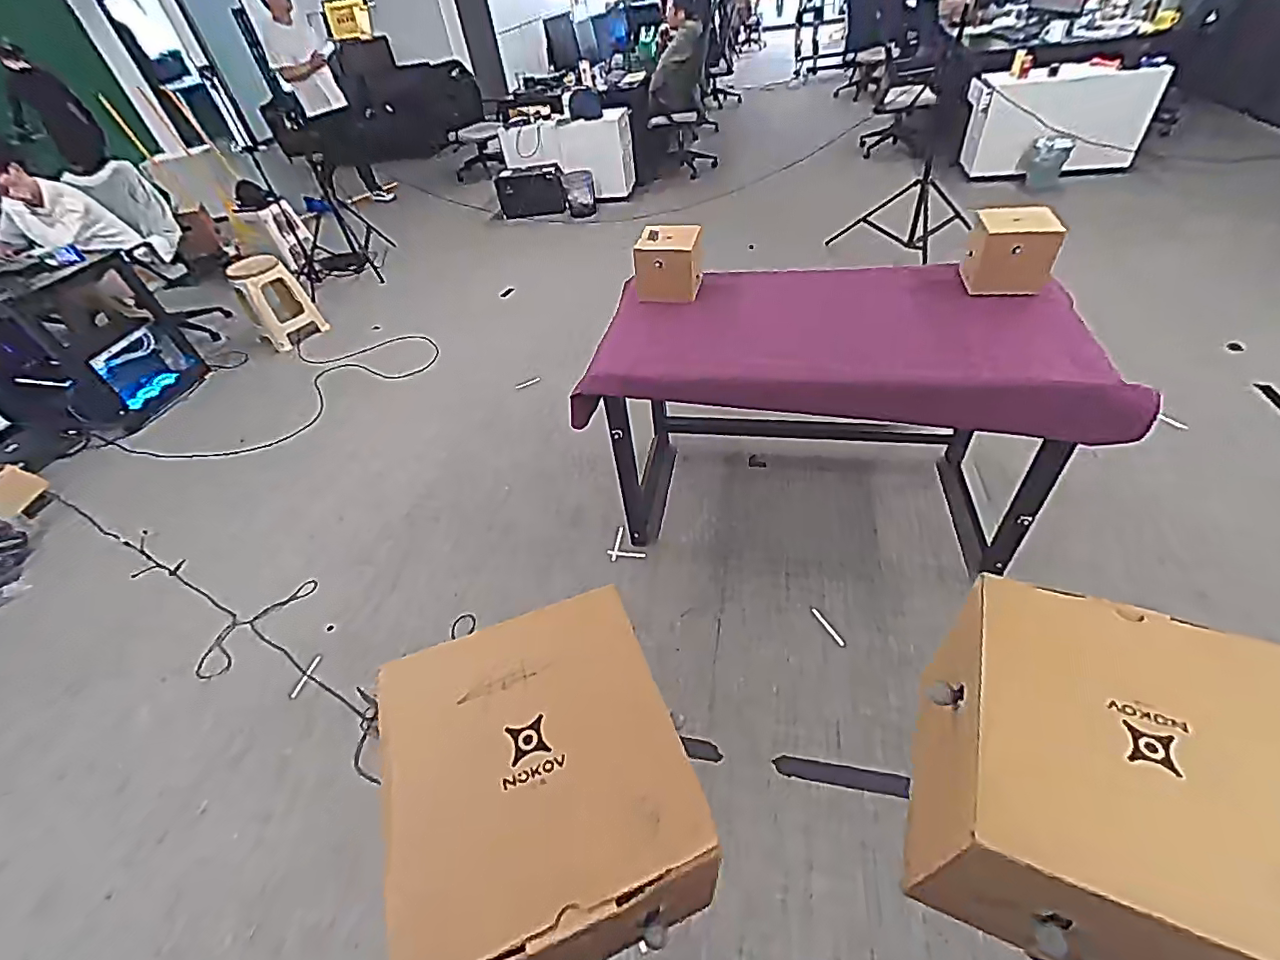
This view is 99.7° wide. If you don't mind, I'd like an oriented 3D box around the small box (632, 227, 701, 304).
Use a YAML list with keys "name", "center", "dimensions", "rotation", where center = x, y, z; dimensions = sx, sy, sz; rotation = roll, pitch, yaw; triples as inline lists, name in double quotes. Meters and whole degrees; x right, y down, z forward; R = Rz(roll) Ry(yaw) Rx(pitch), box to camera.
- name: "small box"
  center: [0.087, -0.656, 1.656]
  dimensions: [0.179, 0.176, 0.168]
  rotation: [7, 48, 14]

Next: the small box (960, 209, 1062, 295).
- name: "small box"
  center: [0.989, -0.614, 1.464]
  dimensions: [0.179, 0.176, 0.168]
  rotation: [5, 47, 13]

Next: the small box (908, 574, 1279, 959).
- name: "small box"
  center: [0.283, 0.196, 0.349]
  dimensions: [0.168, 0.176, 0.179]
  rotation: [13, 48, 22]

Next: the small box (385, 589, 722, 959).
- name: "small box"
  center: [-0.057, 0.213, 0.370]
  dimensions: [0.168, 0.176, 0.179]
  rotation: [-17, 45, -14]
